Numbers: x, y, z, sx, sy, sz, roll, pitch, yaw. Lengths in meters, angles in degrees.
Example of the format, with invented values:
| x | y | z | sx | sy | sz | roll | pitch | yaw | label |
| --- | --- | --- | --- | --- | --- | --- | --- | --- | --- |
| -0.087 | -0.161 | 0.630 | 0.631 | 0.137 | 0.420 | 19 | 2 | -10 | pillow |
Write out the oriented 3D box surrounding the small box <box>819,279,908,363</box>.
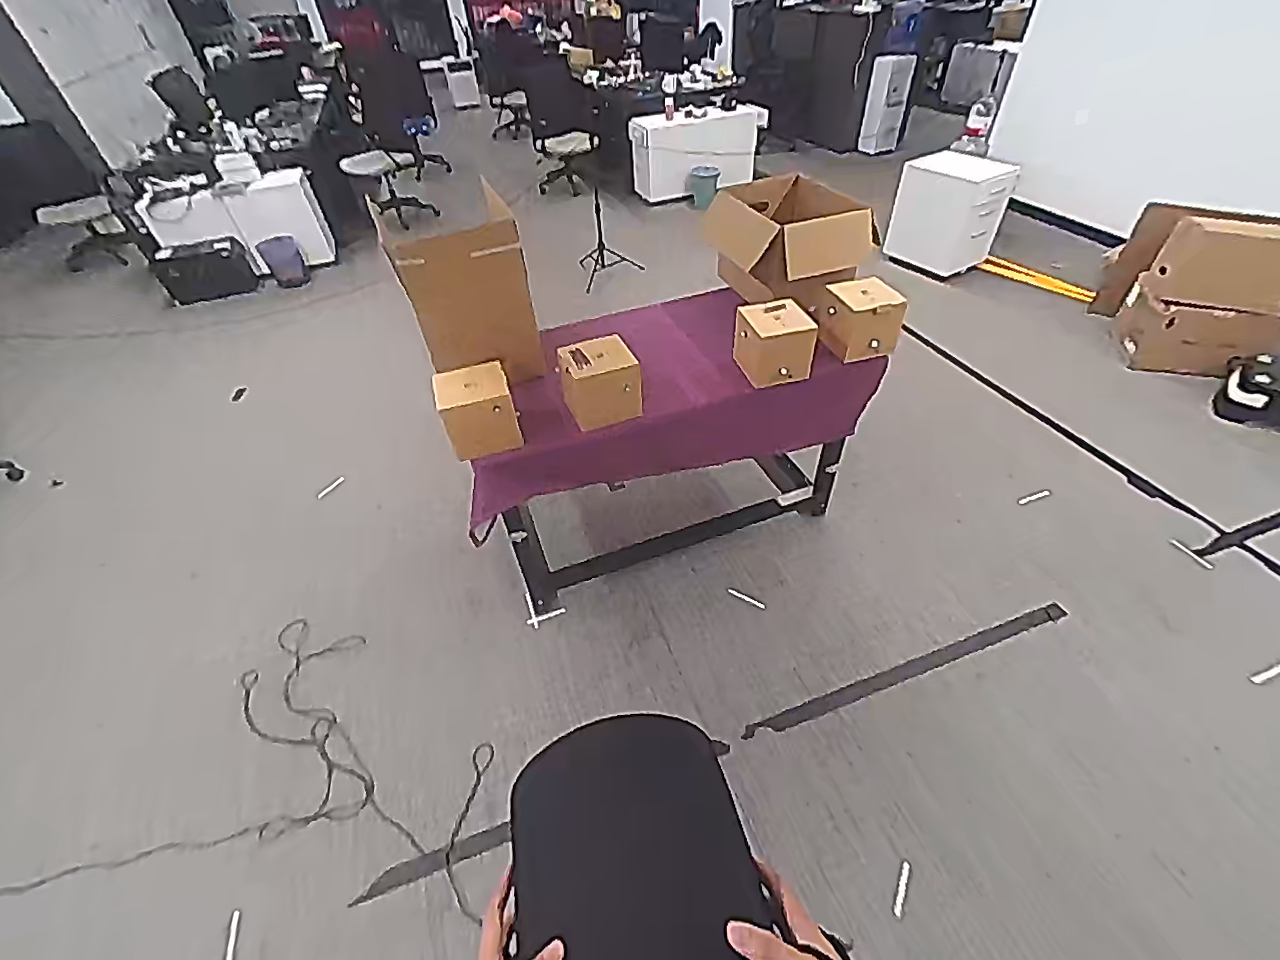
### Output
| x | y | z | sx | sy | sz | roll | pitch | yaw | label |
| --- | --- | --- | --- | --- | --- | --- | --- | --- | --- |
| 0.652 | -0.471 | 1.604 | 0.168 | 0.176 | 0.179 | -12 | 44 | -7 | small box |

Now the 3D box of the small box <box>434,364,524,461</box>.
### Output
| x | y | z | sx | sy | sz | roll | pitch | yaw | label |
| --- | --- | --- | --- | --- | --- | --- | --- | --- | --- |
| -0.413 | -0.171 | 1.391 | 0.179 | 0.176 | 0.168 | -16 | 45 | -12 | small box |
